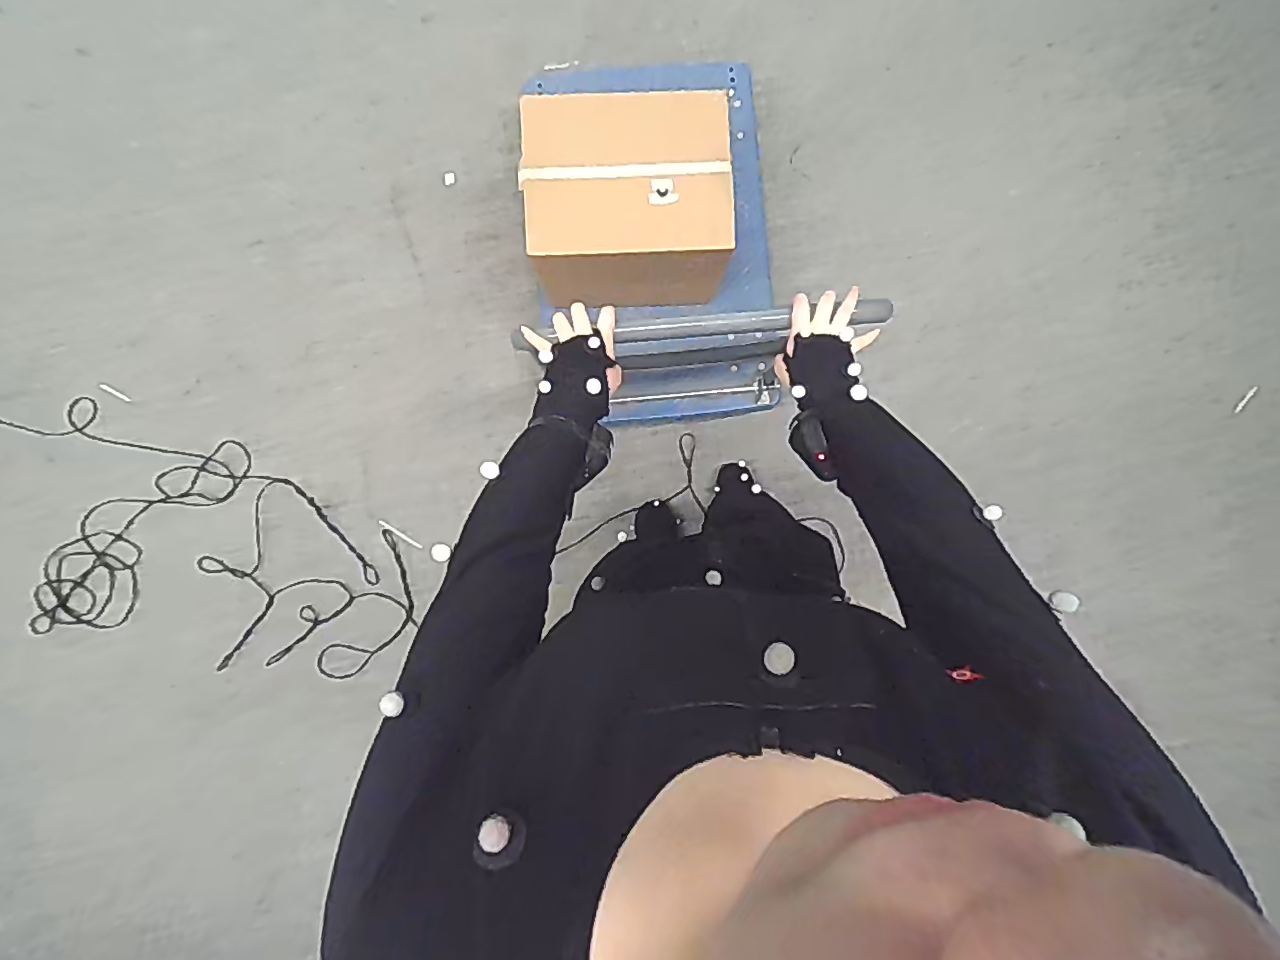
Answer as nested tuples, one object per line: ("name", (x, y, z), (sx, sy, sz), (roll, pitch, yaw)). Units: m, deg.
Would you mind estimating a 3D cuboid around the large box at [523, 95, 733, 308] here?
("large box", (-0.030, -0.595, 1.209), (0.408, 0.320, 0.320), (-3, 89, -2))
